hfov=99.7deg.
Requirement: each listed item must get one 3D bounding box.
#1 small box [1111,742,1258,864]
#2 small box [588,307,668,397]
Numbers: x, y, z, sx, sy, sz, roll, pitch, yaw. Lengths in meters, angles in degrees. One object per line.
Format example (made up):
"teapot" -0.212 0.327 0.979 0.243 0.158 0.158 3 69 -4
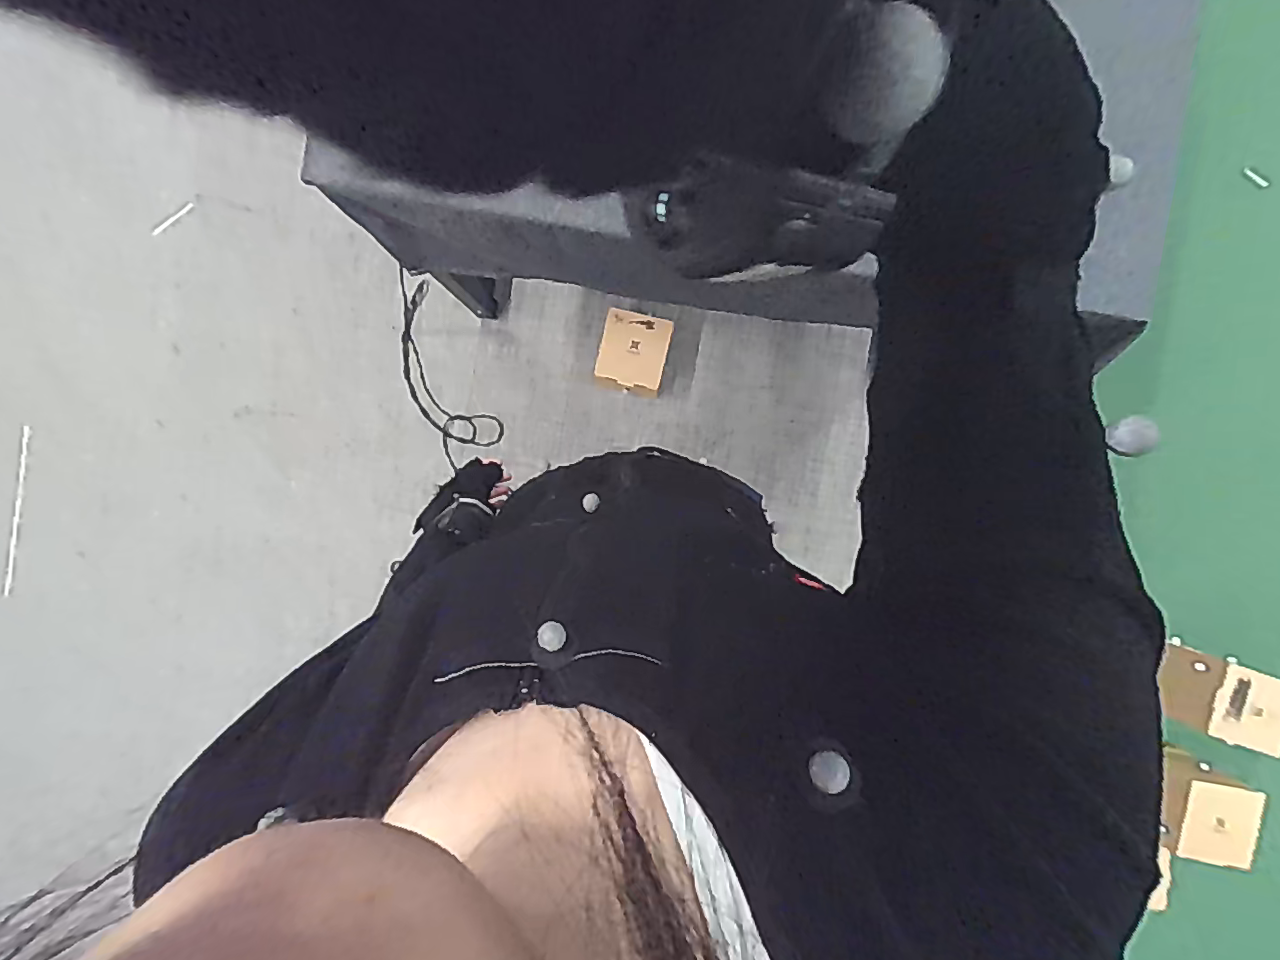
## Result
"small box" 1.260 0.744 1.263 0.168 0.176 0.179 10 91 -1
"small box" -0.028 -0.320 1.389 0.168 0.176 0.179 13 91 0
